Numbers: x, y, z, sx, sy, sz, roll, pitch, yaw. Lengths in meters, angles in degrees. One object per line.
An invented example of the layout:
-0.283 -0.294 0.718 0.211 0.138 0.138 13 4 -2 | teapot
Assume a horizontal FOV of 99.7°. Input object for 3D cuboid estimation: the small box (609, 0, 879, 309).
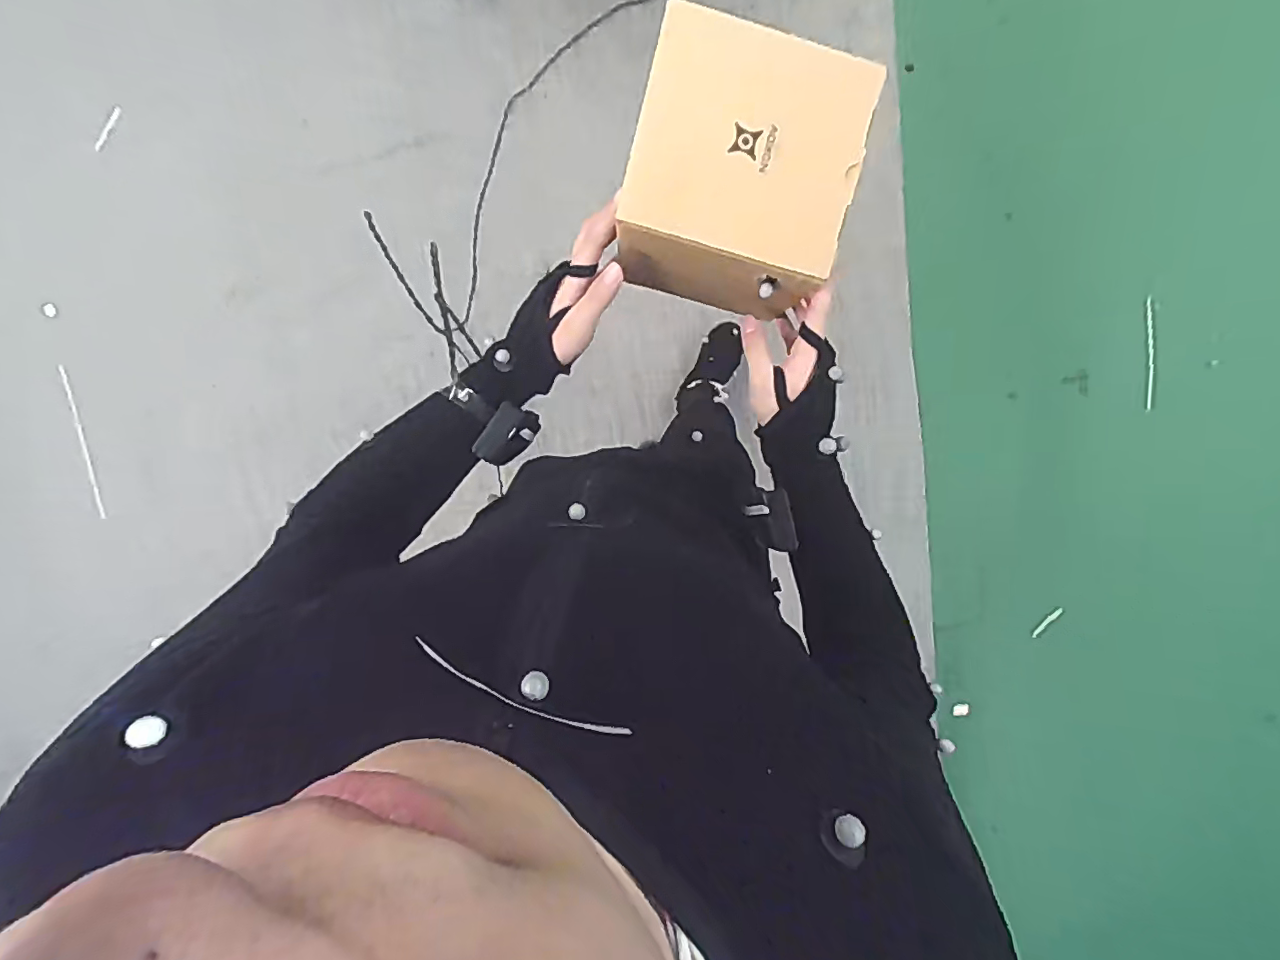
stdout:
0.077 -0.269 0.492 0.179 0.176 0.168 14 96 -3 | small box
